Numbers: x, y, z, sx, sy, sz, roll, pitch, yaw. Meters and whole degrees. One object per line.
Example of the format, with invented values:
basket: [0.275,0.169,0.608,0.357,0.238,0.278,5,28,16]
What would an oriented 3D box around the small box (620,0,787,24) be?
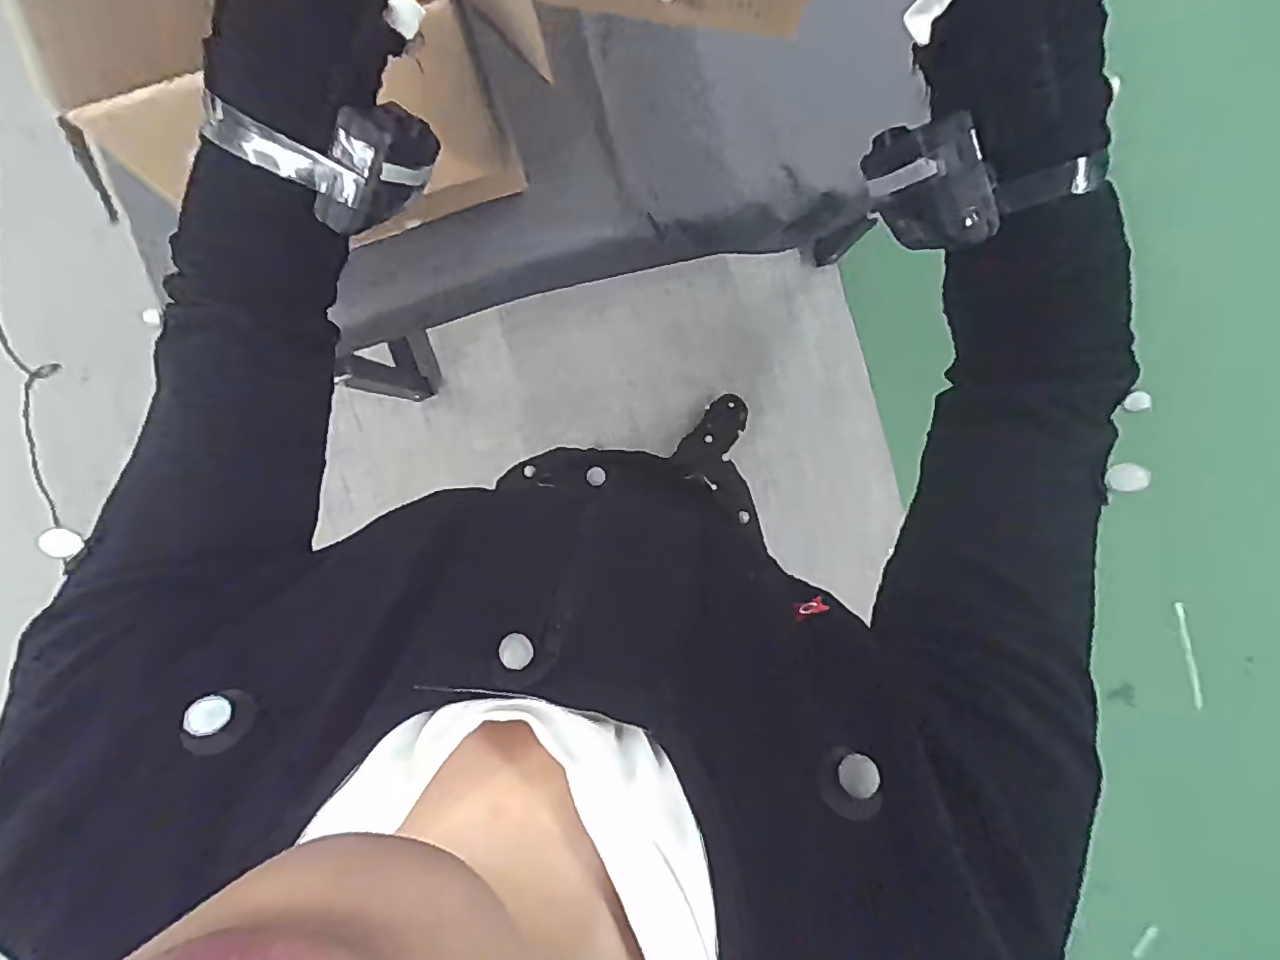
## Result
small box: [0.034,-0.387,0.276,0.179,0.176,0.168,6,91,-3]
